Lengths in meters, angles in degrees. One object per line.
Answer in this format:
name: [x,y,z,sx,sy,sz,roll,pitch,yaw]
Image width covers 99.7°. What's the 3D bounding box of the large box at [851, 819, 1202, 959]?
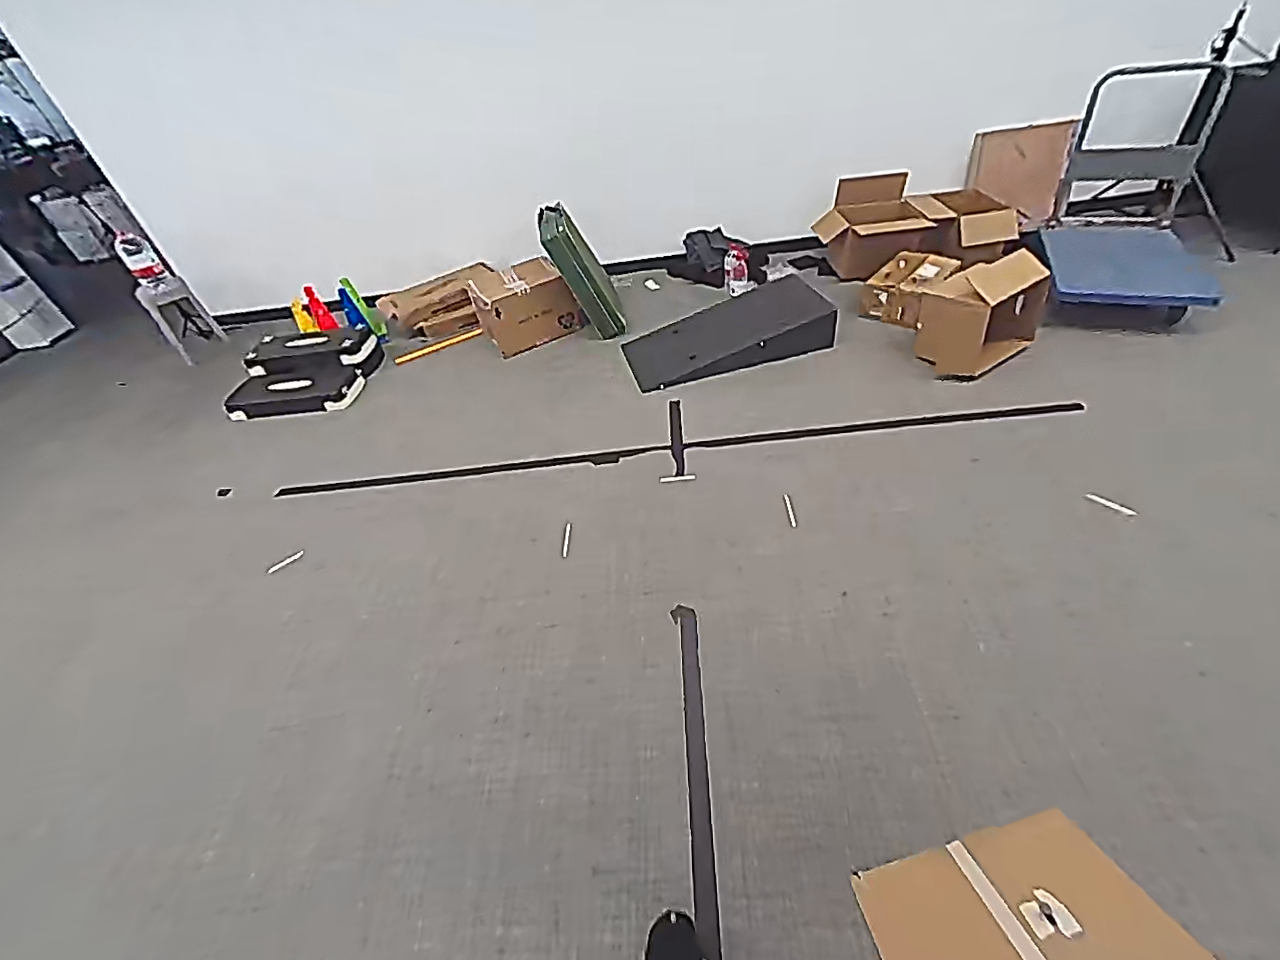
large box: [0.499,0.692,0.597,0.320,0.320,0.408,-20,3,4]
